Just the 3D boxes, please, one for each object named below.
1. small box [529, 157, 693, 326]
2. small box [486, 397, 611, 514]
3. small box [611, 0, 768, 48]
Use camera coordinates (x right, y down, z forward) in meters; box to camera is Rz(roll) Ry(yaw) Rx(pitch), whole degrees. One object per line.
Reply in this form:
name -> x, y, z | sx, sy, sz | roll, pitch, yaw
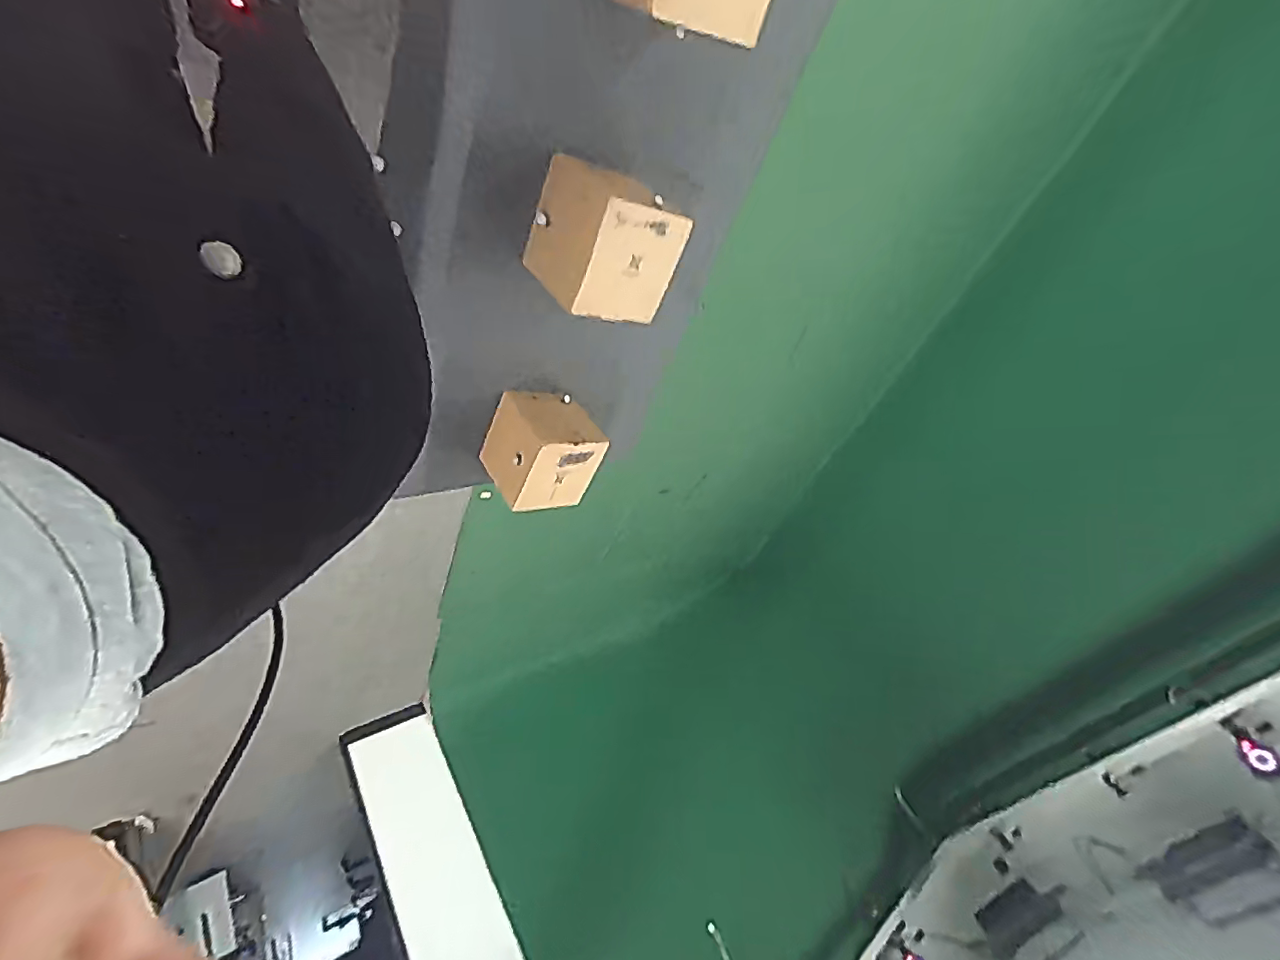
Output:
small box -> -0.055, -0.370, 0.855 | 0.168, 0.176, 0.179 | -9, 139, -41
small box -> -0.195, -0.055, 1.115 | 0.168, 0.176, 0.179 | -4, 135, -44
small box -> 0.050, -0.634, 0.619 | 0.179, 0.176, 0.168 | -19, 146, -34
